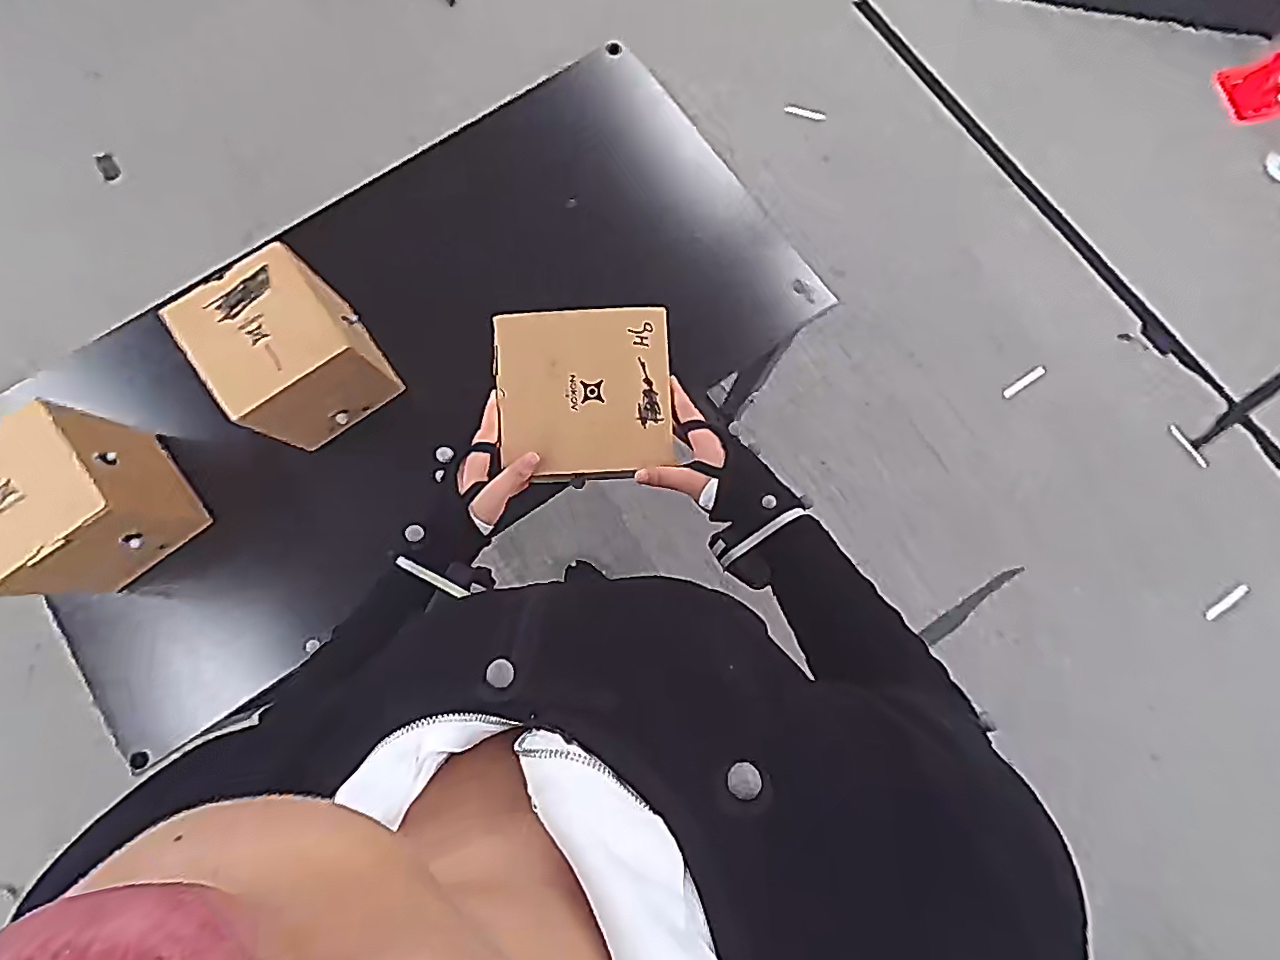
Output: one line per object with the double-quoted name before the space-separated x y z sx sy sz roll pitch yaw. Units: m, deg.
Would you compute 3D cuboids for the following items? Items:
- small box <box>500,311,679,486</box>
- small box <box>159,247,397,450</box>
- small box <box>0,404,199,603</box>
"small box" -0.049 -0.080 0.612 0.179 0.176 0.168 -2 87 0
"small box" -0.472 -0.165 0.734 0.168 0.176 0.179 -36 83 -6
"small box" -0.733 0.037 0.695 0.168 0.176 0.179 -39 82 -8
